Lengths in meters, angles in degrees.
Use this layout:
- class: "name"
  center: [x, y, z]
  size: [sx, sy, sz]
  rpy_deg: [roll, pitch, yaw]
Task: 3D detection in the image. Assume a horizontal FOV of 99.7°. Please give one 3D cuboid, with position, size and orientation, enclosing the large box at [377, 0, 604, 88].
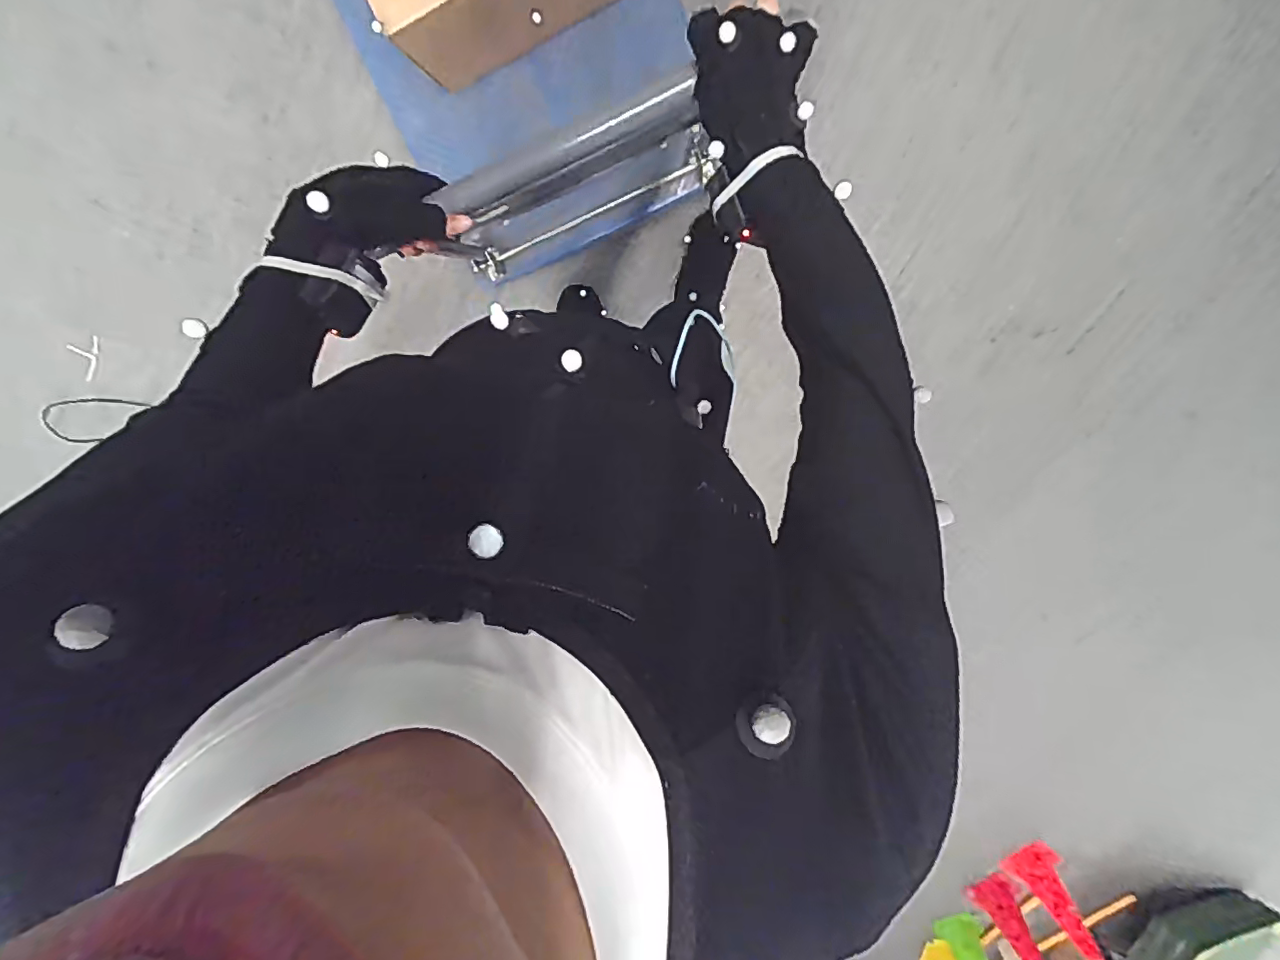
- class: "large box"
  center: [-0.230, -0.882, 0.803]
  size: [0.408, 0.320, 0.320]
  rpy_deg: [-24, 111, 8]
